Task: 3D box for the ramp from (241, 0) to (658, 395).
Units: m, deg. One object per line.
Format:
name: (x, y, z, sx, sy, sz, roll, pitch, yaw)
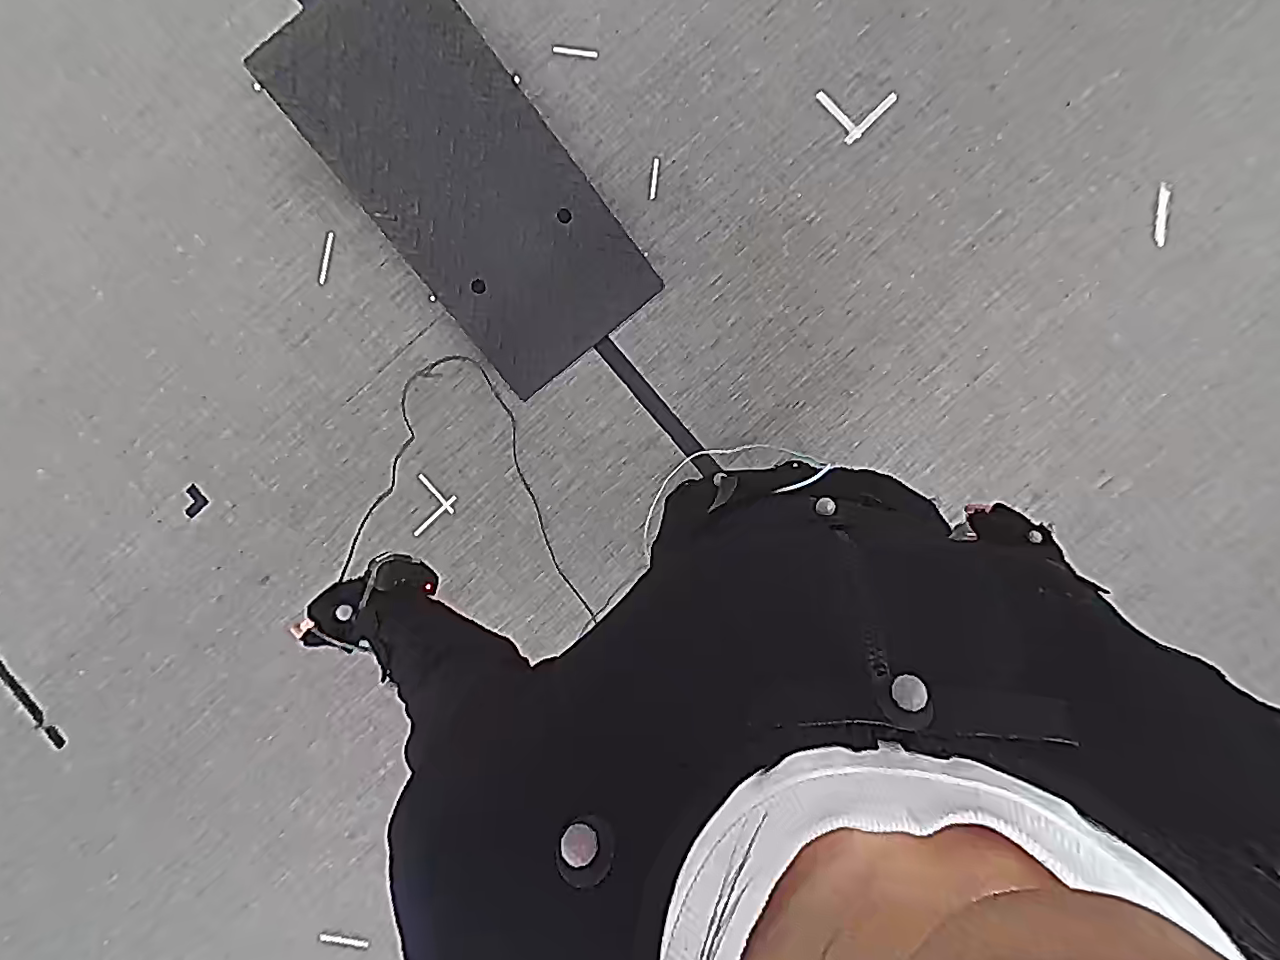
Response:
ramp: (-0.437, -0.752, 1.349, 0.509, 0.206, 0.991, -41, 91, 1)
